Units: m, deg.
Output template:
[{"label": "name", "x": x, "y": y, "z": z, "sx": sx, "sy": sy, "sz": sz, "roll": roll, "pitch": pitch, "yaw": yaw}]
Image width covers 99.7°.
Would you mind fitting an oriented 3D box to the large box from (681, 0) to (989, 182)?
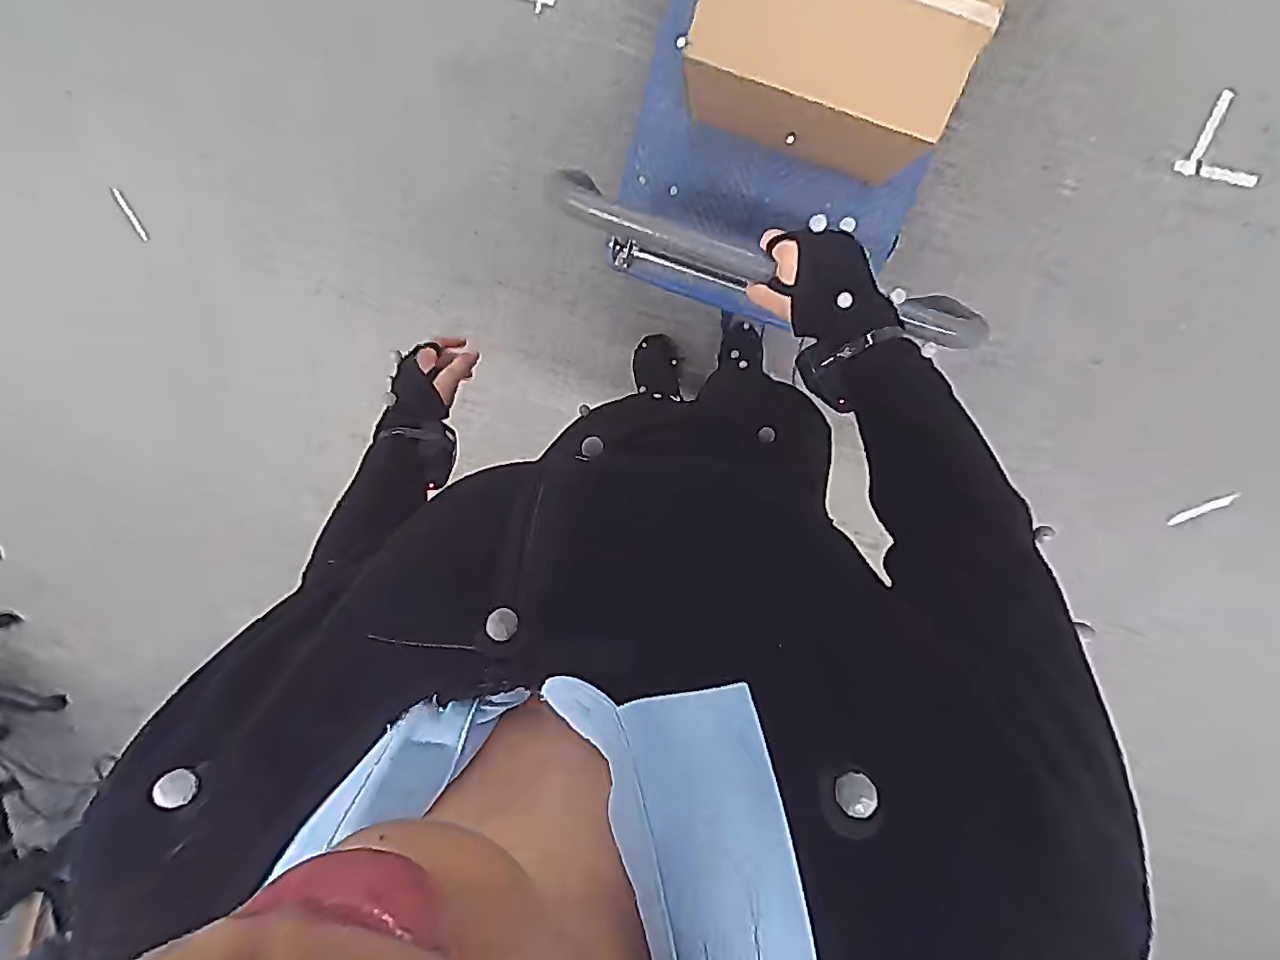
[{"label": "large box", "x": 0.315, "y": -0.753, "z": 0.915, "sx": 0.408, "sy": 0.320, "sz": 0.320, "roll": 20, "pitch": 108, "yaw": 2}]
